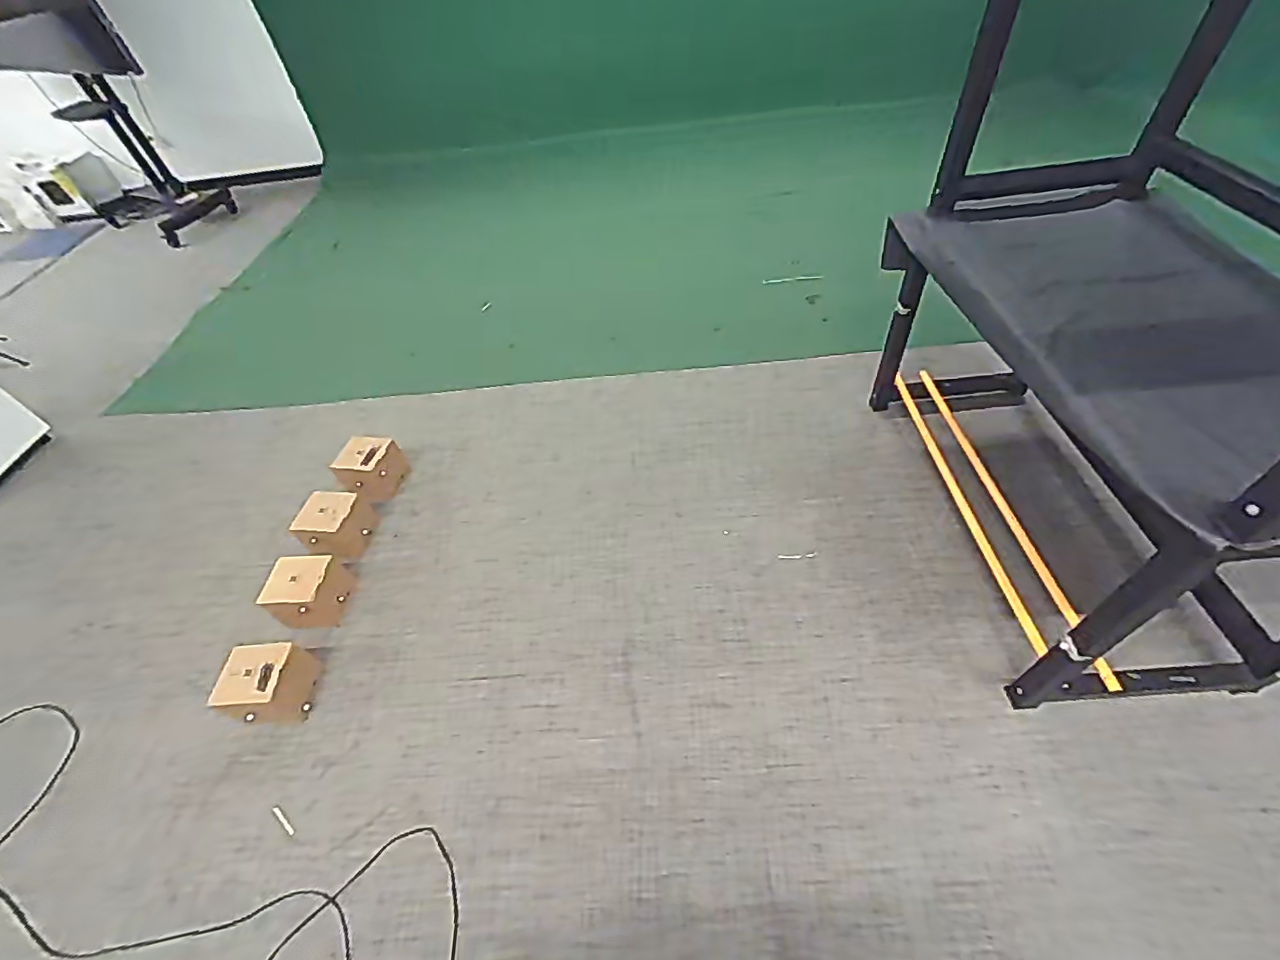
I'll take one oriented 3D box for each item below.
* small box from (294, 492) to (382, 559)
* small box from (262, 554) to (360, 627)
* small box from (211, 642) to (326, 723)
[{"bbox_3d":[-1.038,0.159,1.874,0.179,0.176,0.168,2,50,9],"label":"small box"},{"bbox_3d":[-1.029,0.352,1.705,0.179,0.176,0.168,-3,49,4],"label":"small box"},{"bbox_3d":[-1.024,0.568,1.510,0.179,0.176,0.168,-5,48,4],"label":"small box"}]
